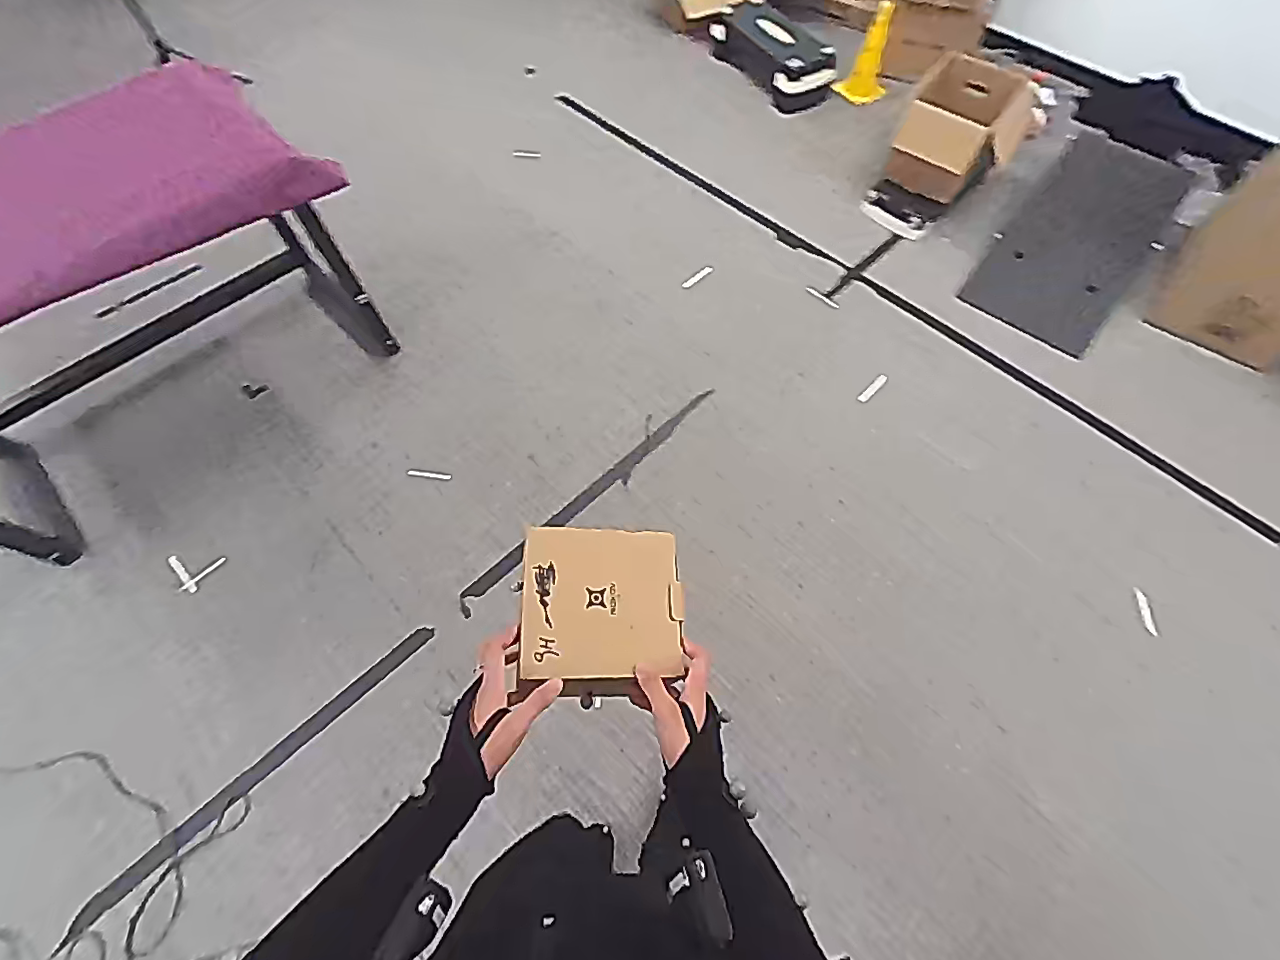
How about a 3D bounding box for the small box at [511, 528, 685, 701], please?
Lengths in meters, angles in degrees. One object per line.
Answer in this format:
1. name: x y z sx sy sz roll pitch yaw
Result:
1. small box: -0.059 0.169 0.654 0.179 0.176 0.168 4 61 -14
